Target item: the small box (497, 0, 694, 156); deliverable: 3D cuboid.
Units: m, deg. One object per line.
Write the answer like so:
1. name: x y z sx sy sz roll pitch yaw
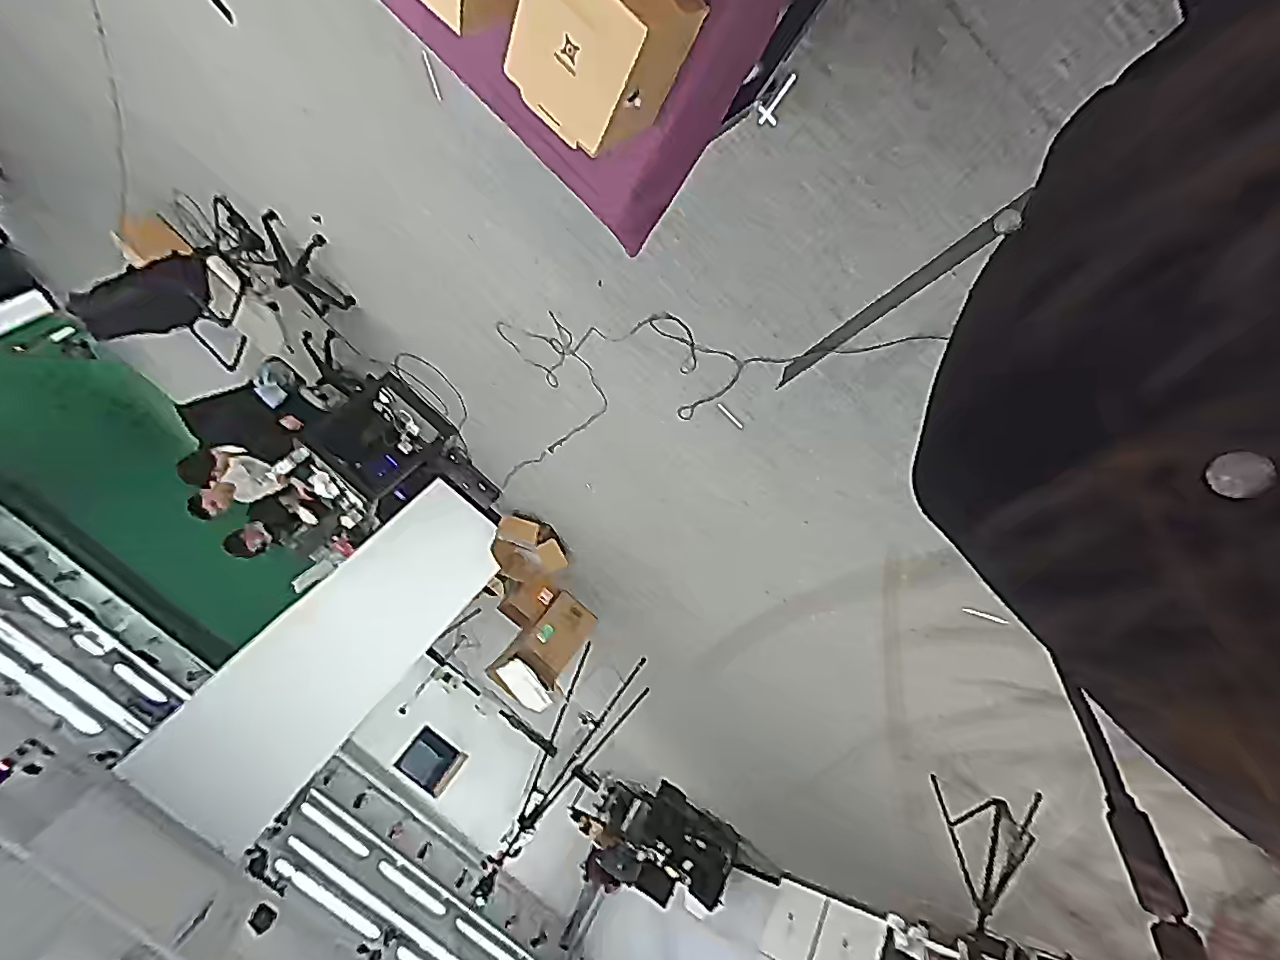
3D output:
1. small box: -0.056 -0.583 0.714 0.168 0.176 0.179 42 146 -7

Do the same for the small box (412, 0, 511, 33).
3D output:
1. small box: -0.241 -0.738 0.696 0.168 0.176 0.179 40 146 -5
